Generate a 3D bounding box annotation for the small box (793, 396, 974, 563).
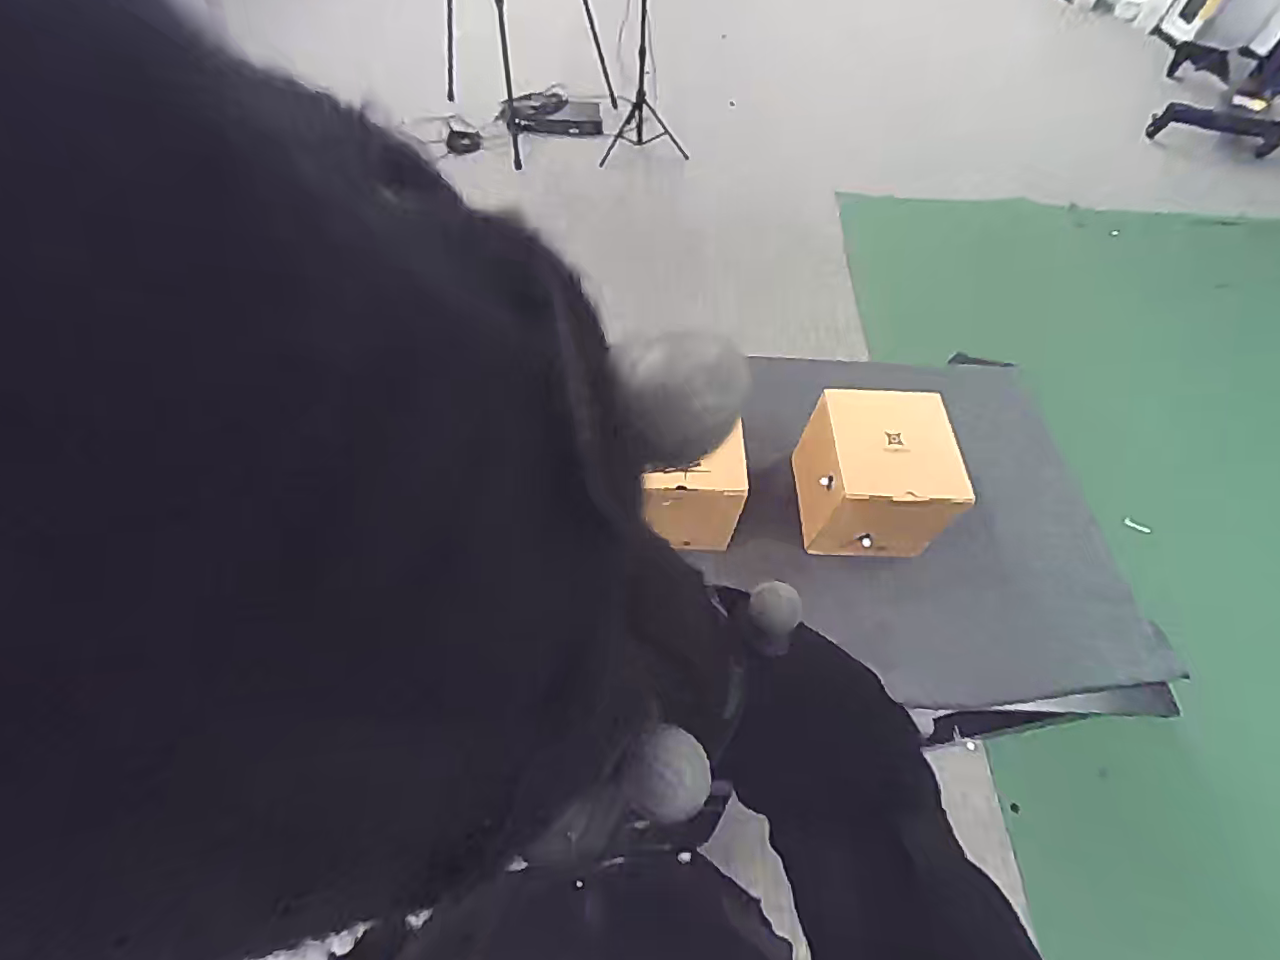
[{"bbox_3d":[0.330,0.003,0.777,0.168,0.176,0.179,2,58,-1],"label":"small box"}]
